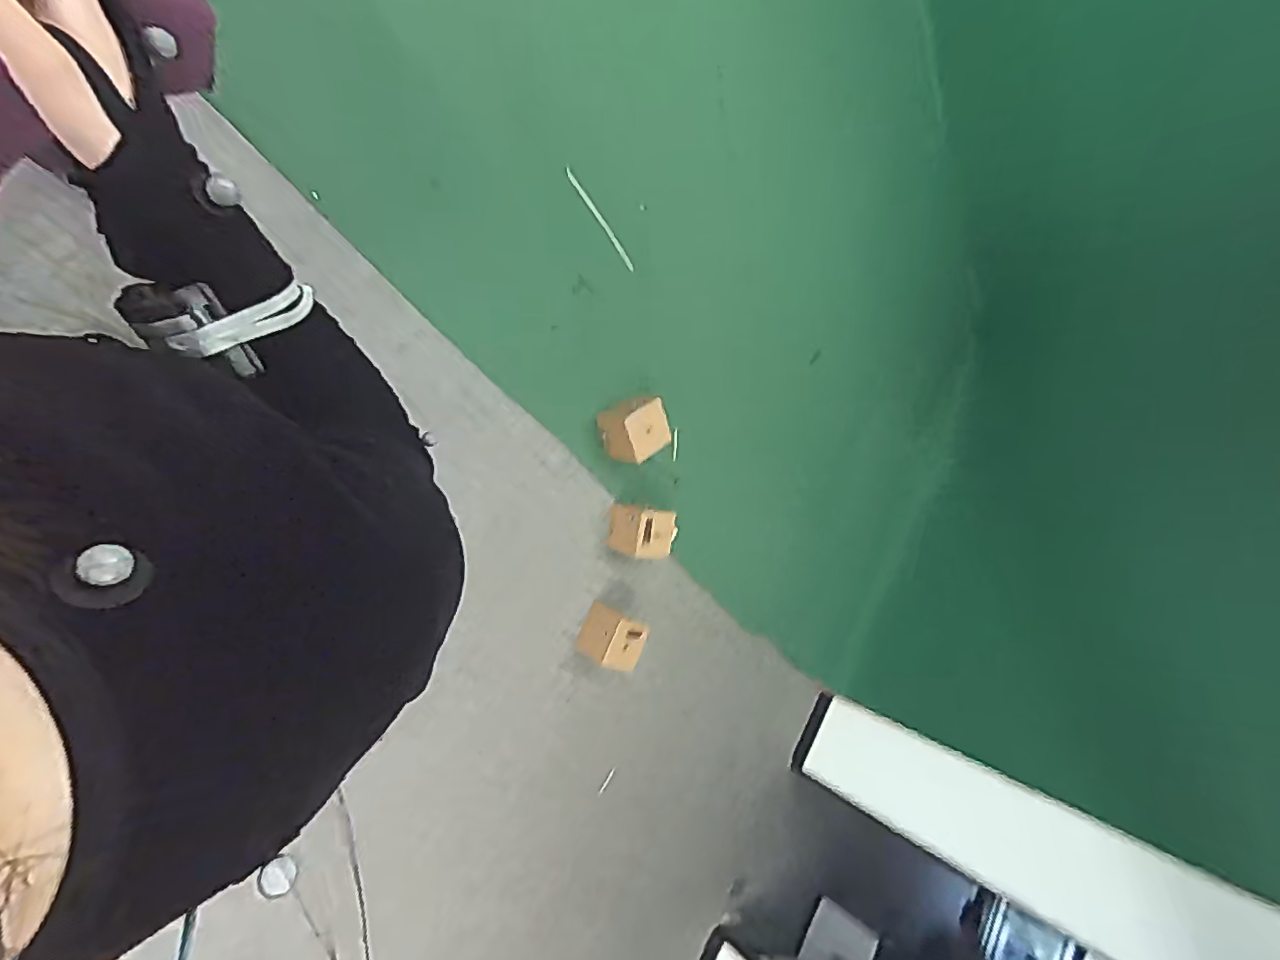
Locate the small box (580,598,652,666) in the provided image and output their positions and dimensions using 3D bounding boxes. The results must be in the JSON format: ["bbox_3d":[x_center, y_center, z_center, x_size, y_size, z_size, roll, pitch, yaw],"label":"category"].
[{"bbox_3d":[-0.092,0.555,1.987,0.168,0.176,0.179,32,79,-41],"label":"small box"}]

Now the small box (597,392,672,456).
[{"bbox_3d":[-0.020,-0.203,1.893,0.179,0.176,0.168,-36,120,-31],"label":"small box"}]
